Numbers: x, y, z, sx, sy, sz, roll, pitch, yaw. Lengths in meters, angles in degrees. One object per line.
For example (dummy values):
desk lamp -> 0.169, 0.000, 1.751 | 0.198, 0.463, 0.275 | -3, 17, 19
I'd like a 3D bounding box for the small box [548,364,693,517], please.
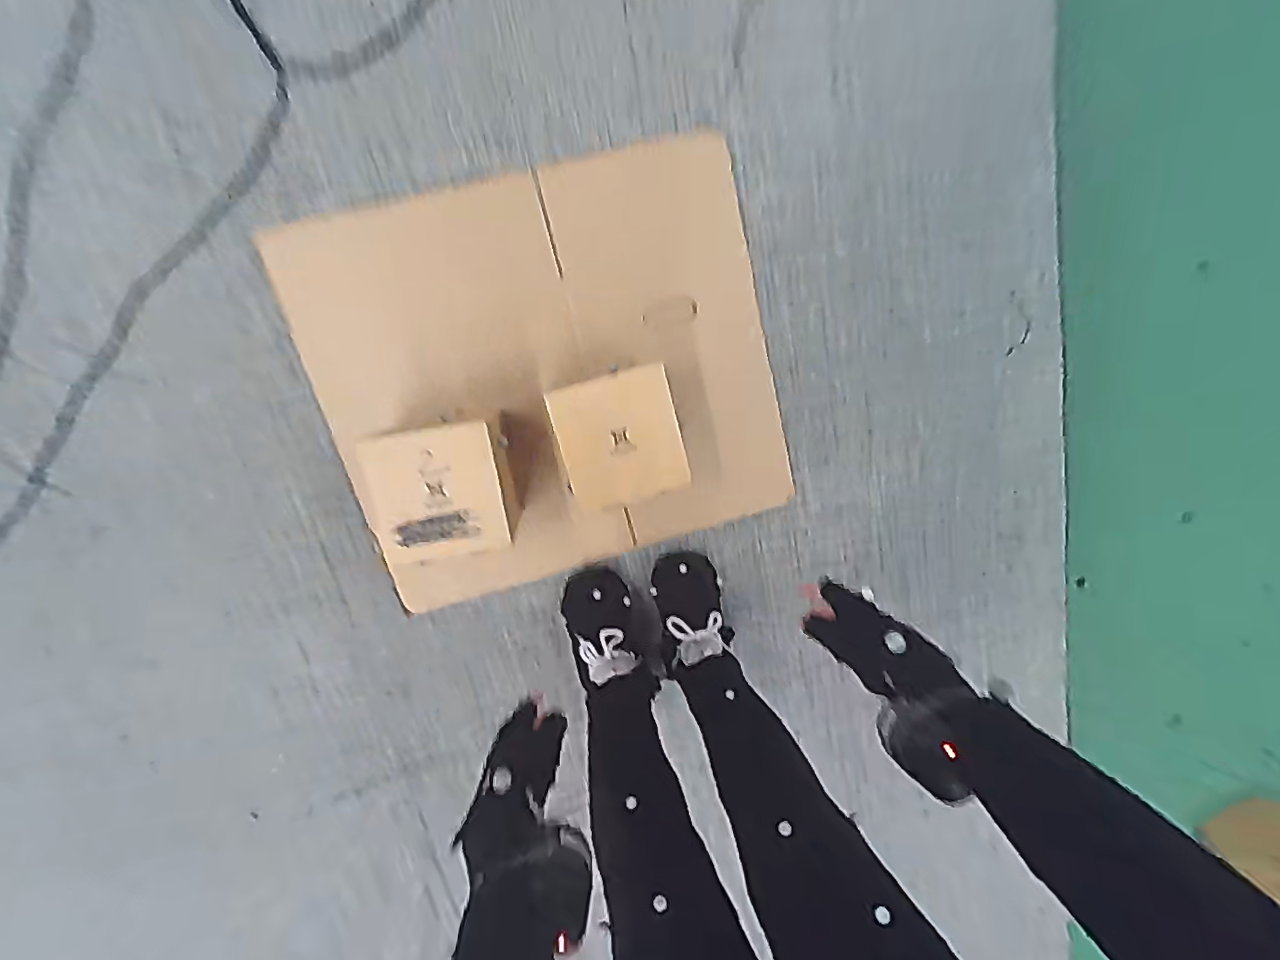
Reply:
small box -> -0.037, -0.067, 0.811 | 0.168, 0.176, 0.179 | -18, 105, -6
